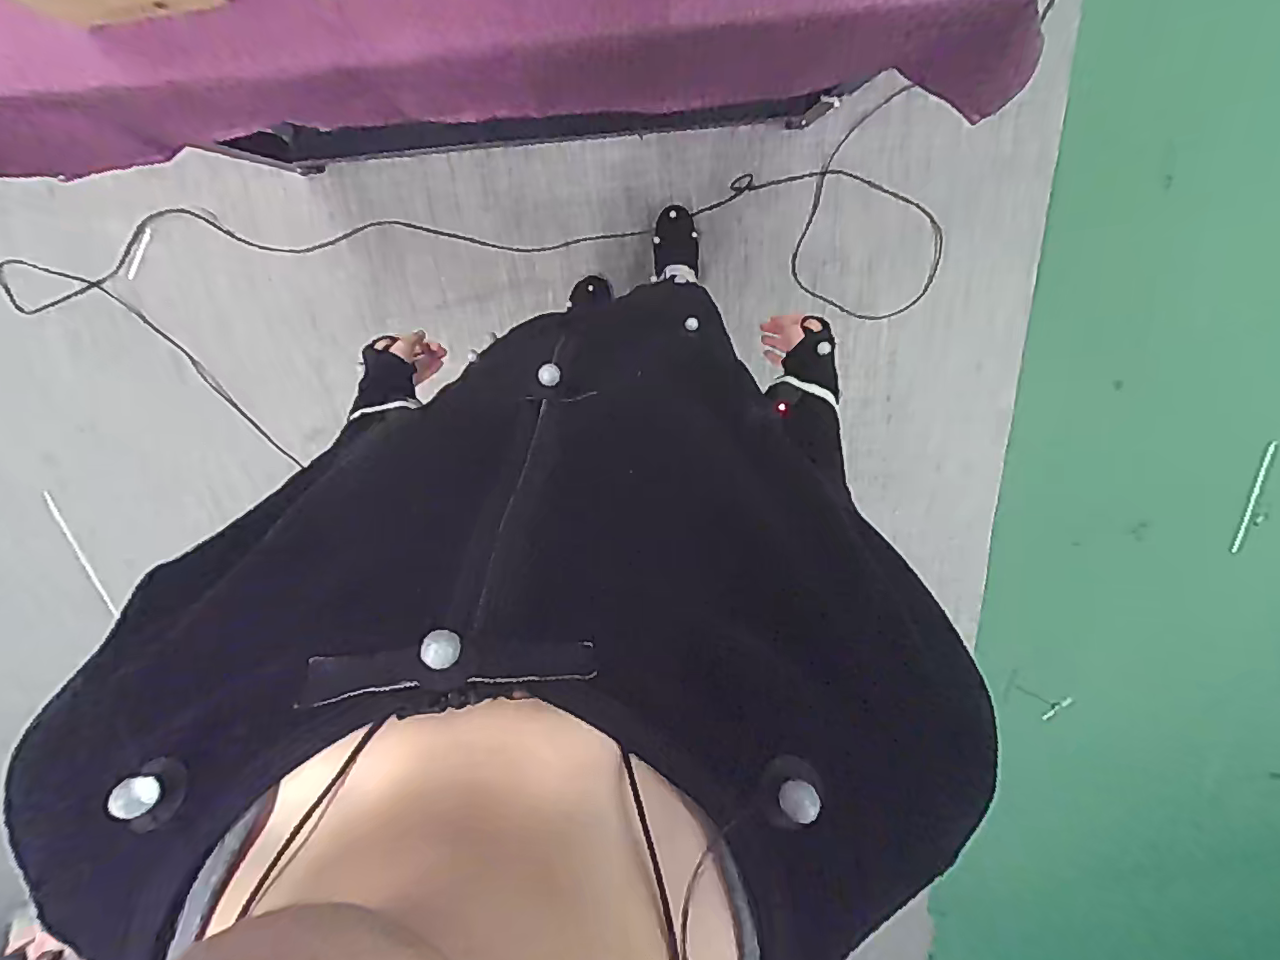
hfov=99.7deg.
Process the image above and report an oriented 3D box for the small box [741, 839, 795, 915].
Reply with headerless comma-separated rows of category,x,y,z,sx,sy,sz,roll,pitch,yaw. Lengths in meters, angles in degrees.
small box,0.476,1.479,2.027,0.168,0.176,0.179,-6,111,2
